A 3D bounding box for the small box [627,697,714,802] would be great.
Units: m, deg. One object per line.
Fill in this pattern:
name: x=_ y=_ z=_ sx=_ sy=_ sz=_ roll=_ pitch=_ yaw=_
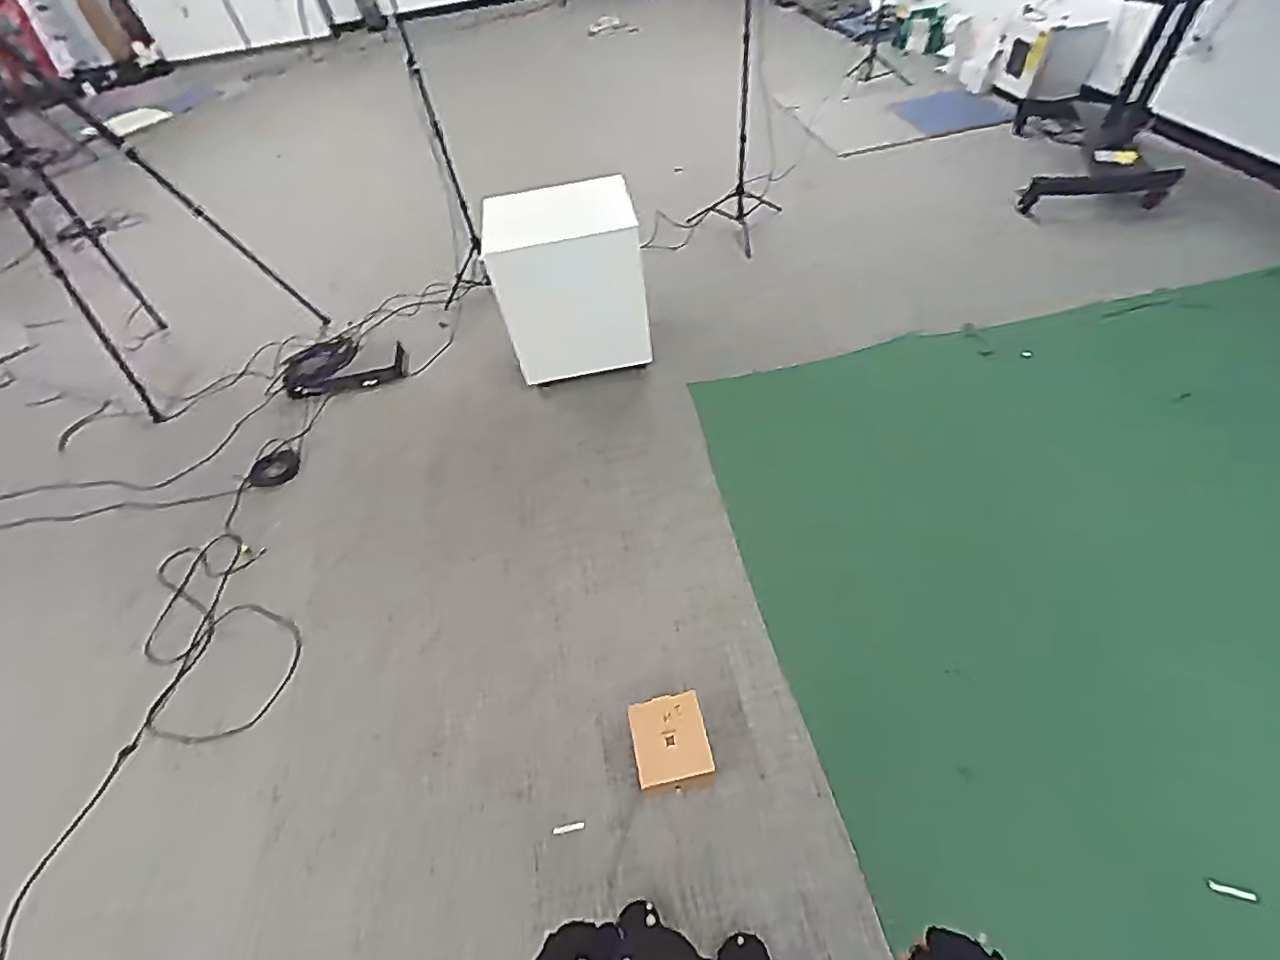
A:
small box: x=0.072 y=0.633 z=1.258 sx=0.168 sy=0.176 sz=0.179 roll=-12 pitch=51 yaw=-3
